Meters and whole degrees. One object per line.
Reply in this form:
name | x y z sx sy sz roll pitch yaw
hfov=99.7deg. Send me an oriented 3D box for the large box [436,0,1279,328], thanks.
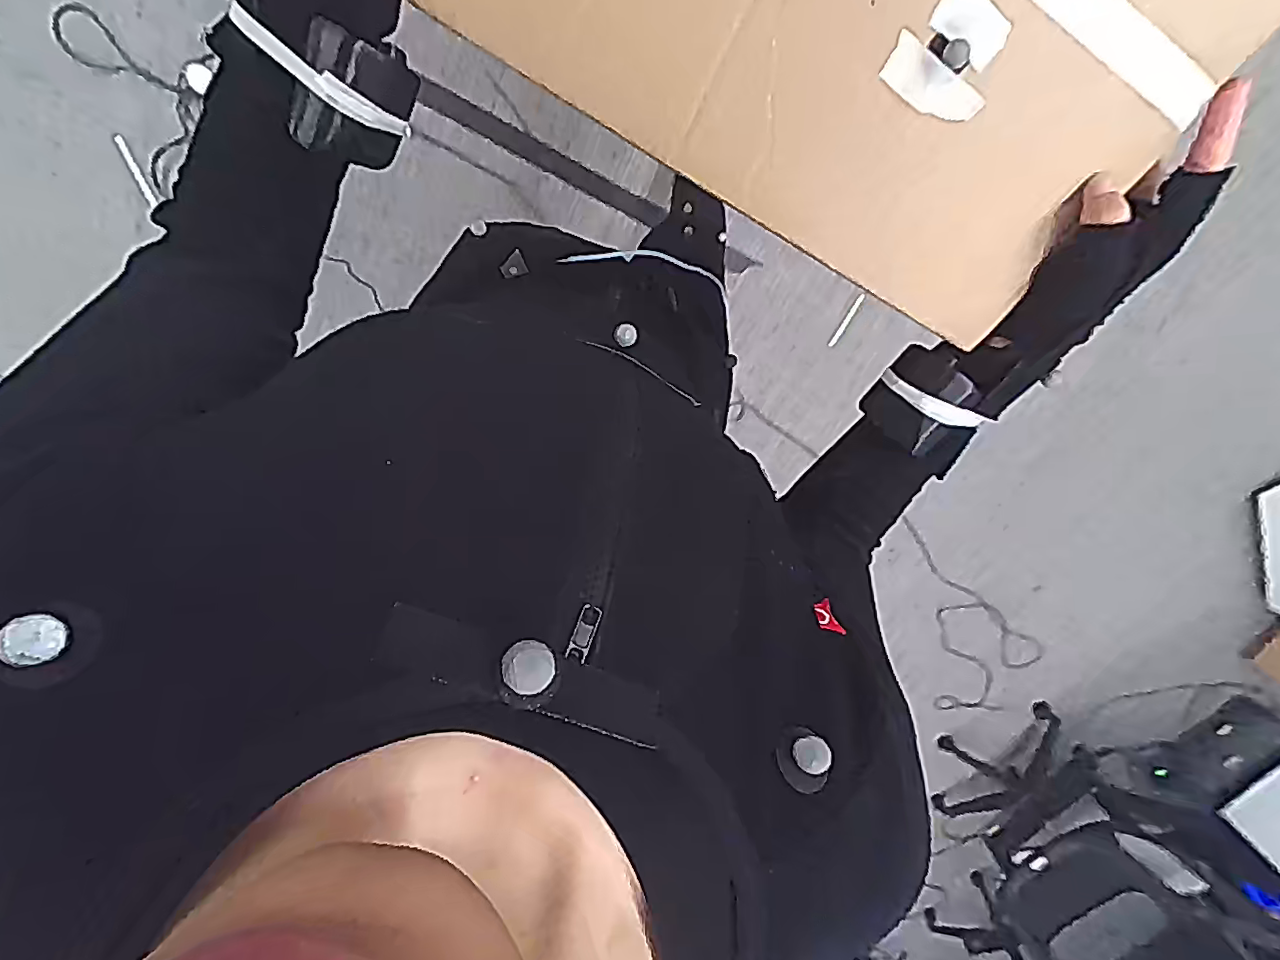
large box | 0.132 -0.377 0.378 0.408 0.320 0.320 24 124 -15
